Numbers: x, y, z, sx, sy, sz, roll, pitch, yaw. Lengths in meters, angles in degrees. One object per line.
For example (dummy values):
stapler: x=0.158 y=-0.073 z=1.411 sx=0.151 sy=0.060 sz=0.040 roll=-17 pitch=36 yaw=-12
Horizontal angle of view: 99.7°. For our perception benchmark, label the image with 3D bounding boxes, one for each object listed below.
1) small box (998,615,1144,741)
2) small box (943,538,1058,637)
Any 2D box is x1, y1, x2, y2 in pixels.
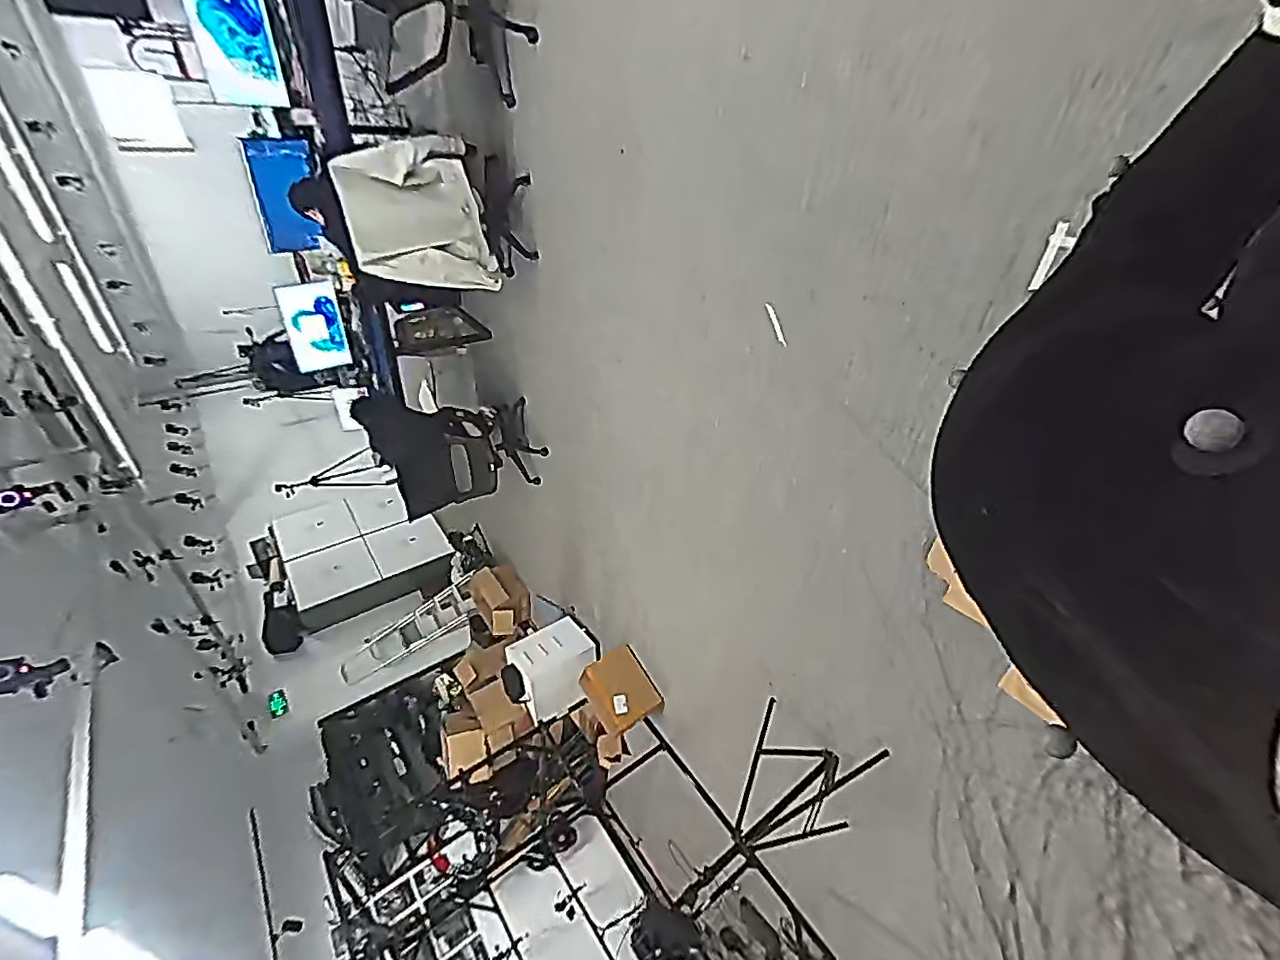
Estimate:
small box: x=0.953 y=0.427 z=1.201 sx=0.179 sy=0.176 sz=0.168 roll=39 pitch=139 yaw=39
small box: x=0.953 y=0.274 z=1.434 sx=0.179 sy=0.176 sz=0.168 roll=35 pitch=136 yaw=42
